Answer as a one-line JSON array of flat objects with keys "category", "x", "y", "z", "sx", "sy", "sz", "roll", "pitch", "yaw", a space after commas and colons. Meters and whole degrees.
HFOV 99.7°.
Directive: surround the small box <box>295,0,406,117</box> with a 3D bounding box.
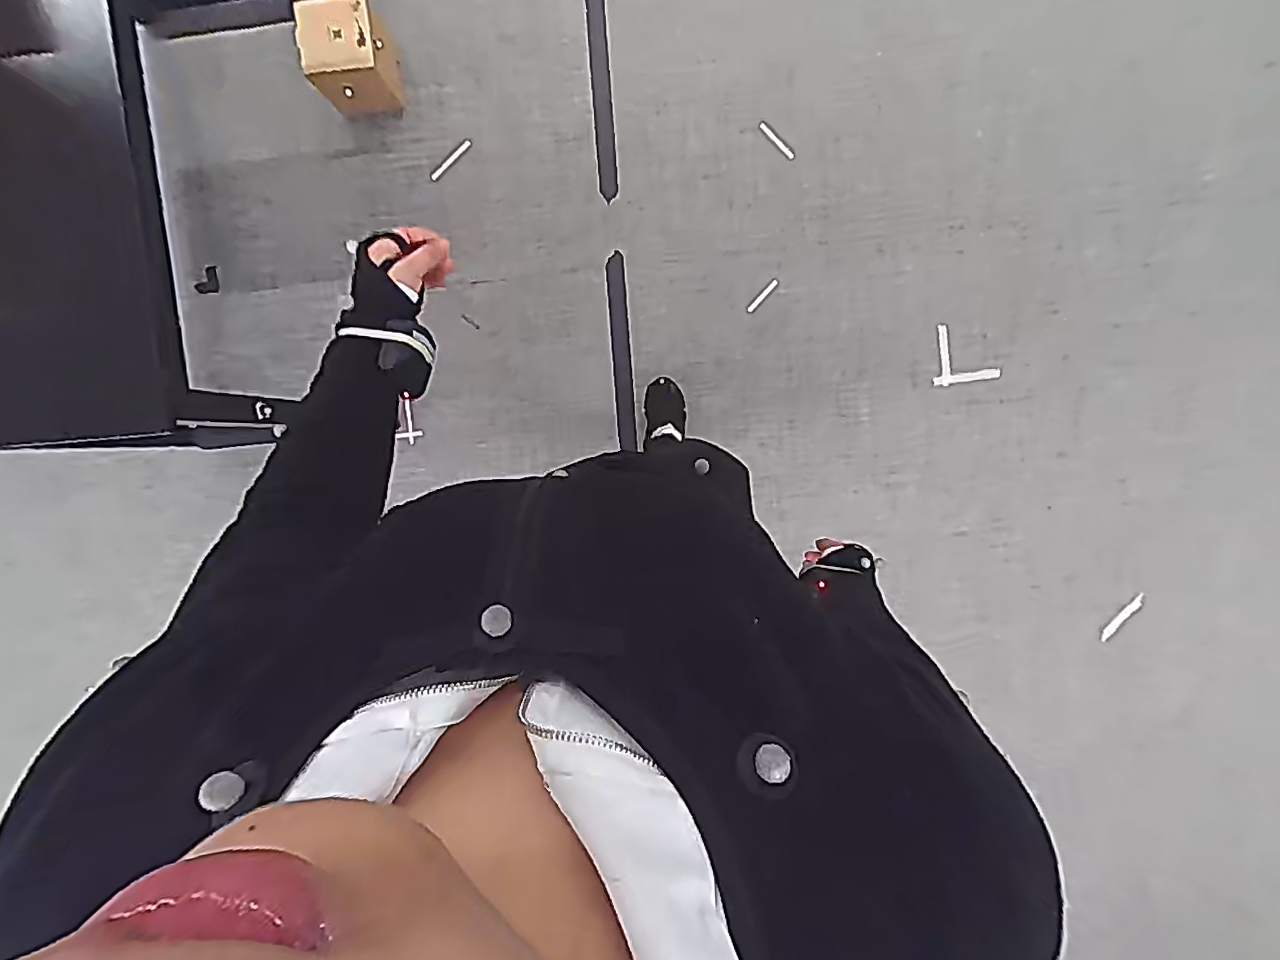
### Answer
[{"category": "small box", "x": -0.715, "y": -1.043, "z": 1.352, "sx": 0.179, "sy": 0.176, "sz": 0.168, "roll": -6, "pitch": 95, "yaw": 3}]
